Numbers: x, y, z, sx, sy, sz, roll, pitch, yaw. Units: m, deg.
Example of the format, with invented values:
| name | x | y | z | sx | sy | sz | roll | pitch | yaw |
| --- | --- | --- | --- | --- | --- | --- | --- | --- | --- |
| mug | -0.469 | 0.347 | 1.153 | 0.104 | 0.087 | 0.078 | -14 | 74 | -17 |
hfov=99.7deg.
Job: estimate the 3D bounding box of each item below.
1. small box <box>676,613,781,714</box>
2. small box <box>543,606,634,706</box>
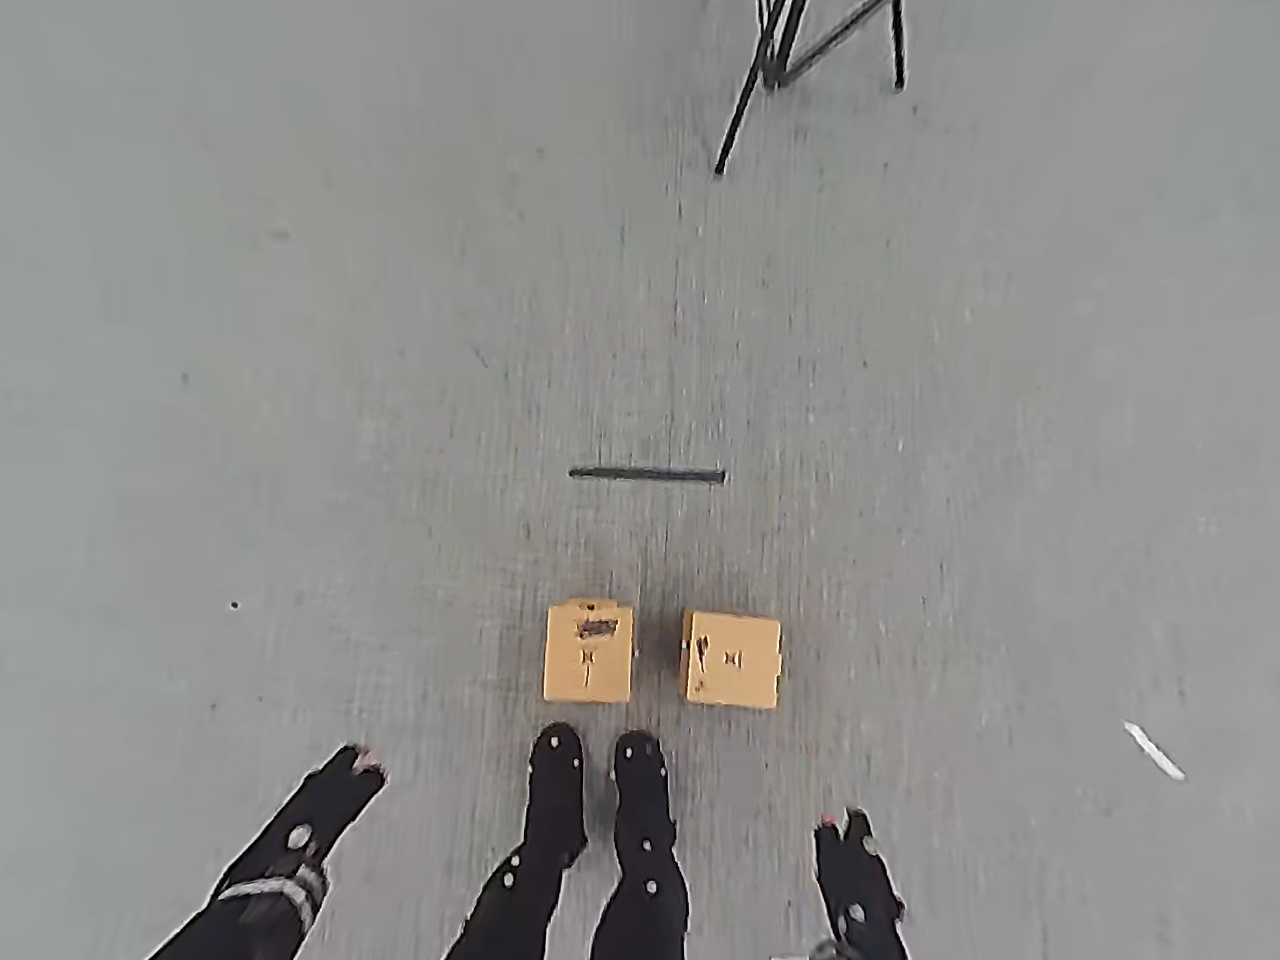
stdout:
| name | x | y | z | sx | sy | sz | roll | pitch | yaw |
| --- | --- | --- | --- | --- | --- | --- | --- | --- | --- |
| small box | 0.176 | 0.368 | 1.112 | 0.179 | 0.176 | 0.168 | 6 | 79 | -1 |
| small box | -0.100 | 0.352 | 1.107 | 0.168 | 0.176 | 0.179 | 2 | 79 | 0 |
